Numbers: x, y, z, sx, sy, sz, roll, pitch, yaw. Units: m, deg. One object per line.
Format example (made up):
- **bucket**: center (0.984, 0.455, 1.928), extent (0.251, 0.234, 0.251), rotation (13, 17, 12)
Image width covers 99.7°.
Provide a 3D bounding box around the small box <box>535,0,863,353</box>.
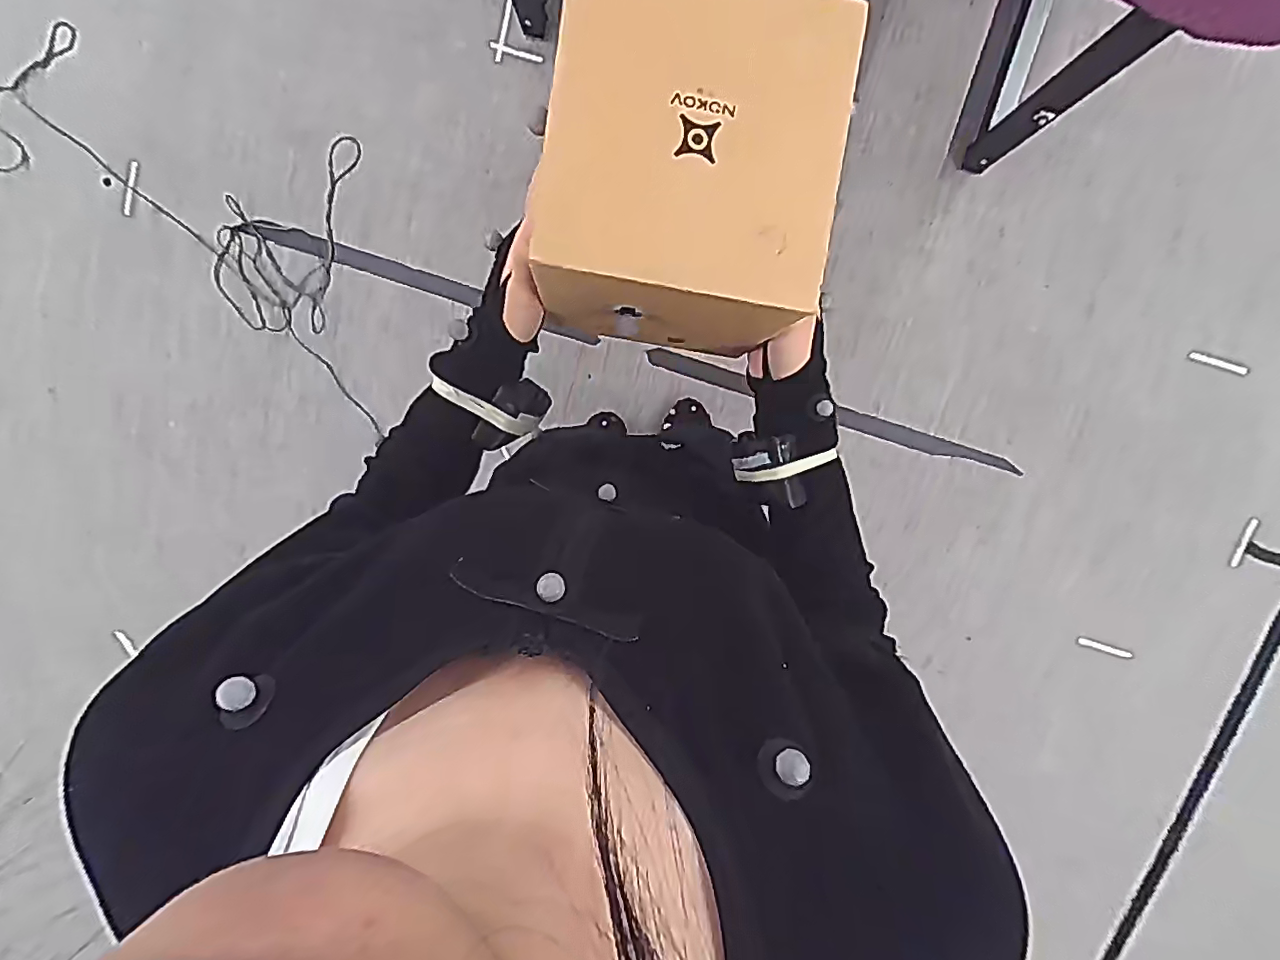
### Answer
- **small box**: center (0.028, -0.197, 0.382), extent (0.168, 0.176, 0.179), rotation (8, 92, -5)
